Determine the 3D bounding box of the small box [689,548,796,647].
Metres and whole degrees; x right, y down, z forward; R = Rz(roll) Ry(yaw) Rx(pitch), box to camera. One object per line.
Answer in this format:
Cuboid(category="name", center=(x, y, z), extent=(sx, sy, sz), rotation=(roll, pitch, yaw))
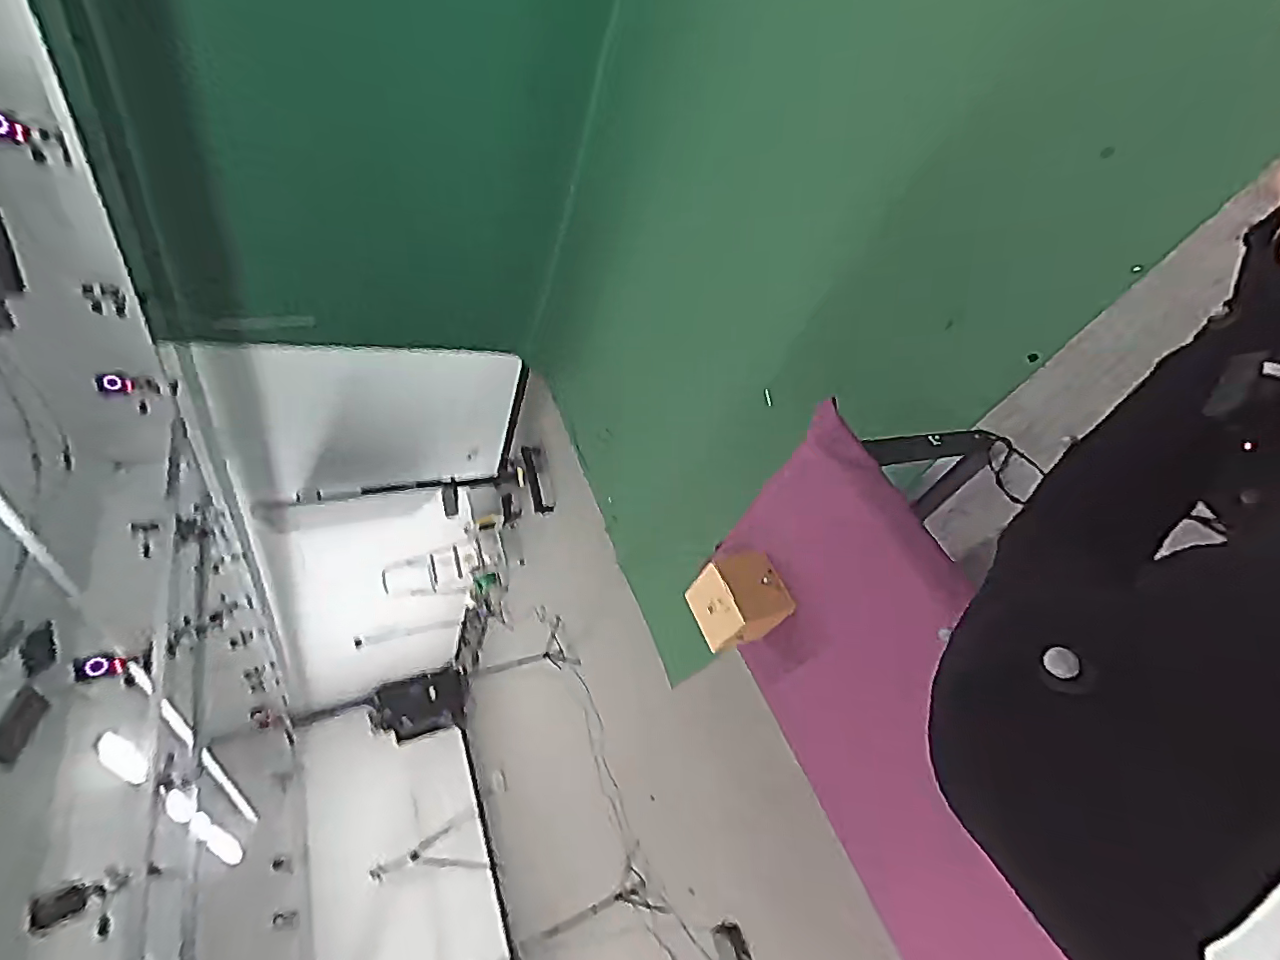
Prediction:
Cuboid(category="small box", center=(0.256, 0.293, 1.358), extent=(0.168, 0.176, 0.179), rotation=(62, 144, 29))
